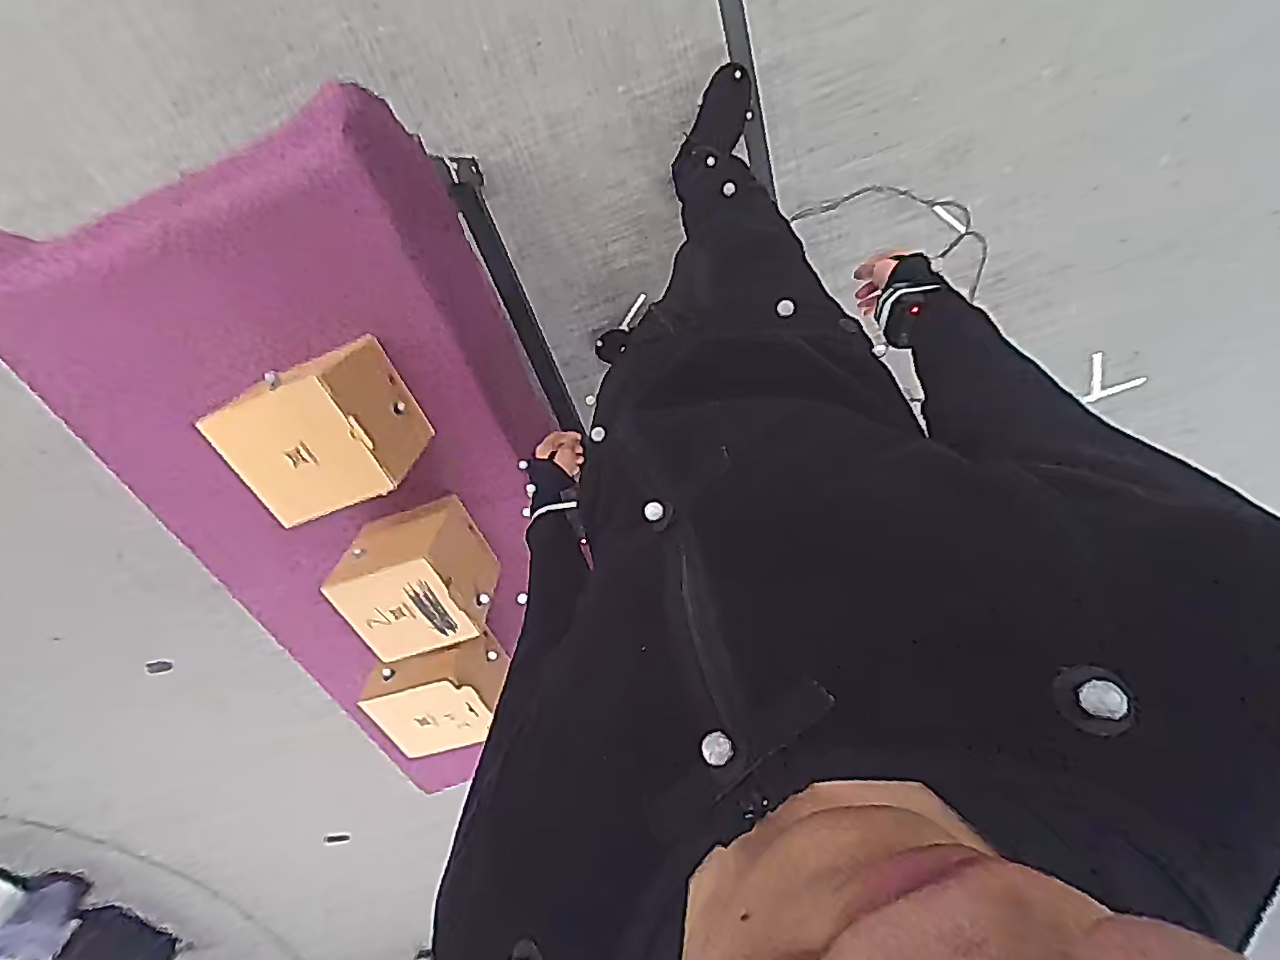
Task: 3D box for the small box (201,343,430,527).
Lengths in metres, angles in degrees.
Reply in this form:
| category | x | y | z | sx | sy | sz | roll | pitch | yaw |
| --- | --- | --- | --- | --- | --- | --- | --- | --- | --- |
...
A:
| category | x | y | z | sx | sy | sz | roll | pitch | yaw |
| --- | --- | --- | --- | --- | --- | --- | --- | --- | --- |
| small box | -0.425 | -0.067 | 0.744 | 0.179 | 0.176 | 0.168 | -19 | 119 | 8 |

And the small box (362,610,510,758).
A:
| category | x | y | z | sx | sy | sz | roll | pitch | yaw |
| --- | --- | --- | --- | --- | --- | --- | --- | --- | --- |
| small box | -0.361 | 0.371 | 0.996 | 0.179 | 0.176 | 0.168 | -18 | 119 | 8 |
